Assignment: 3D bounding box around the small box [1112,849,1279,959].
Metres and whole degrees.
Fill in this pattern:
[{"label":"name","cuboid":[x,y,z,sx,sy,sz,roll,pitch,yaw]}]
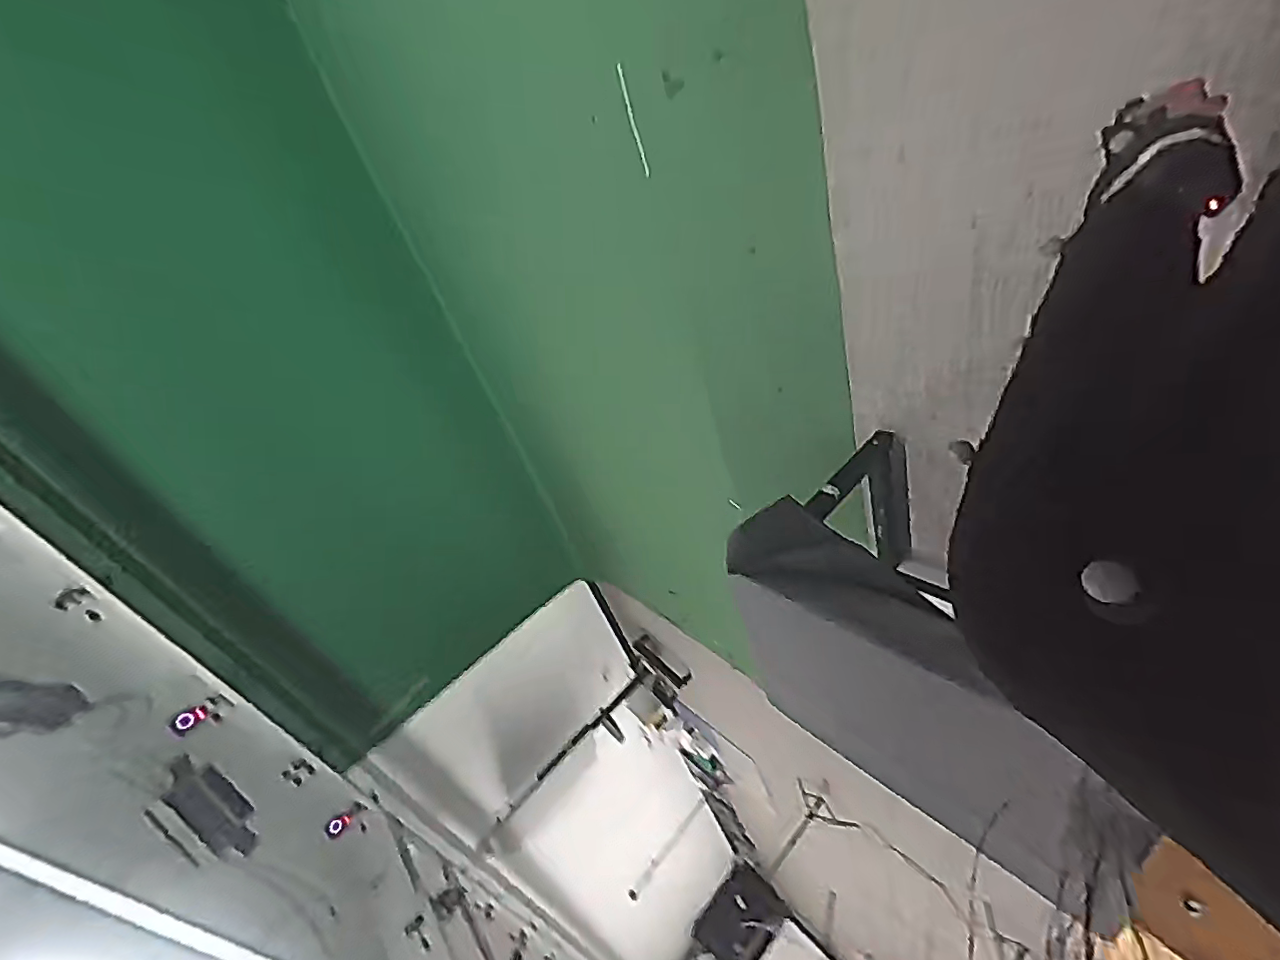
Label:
[{"label":"small box","cuboid":[0.818,0.678,0.772,0.168,0.176,0.179,26,147,46]}]
